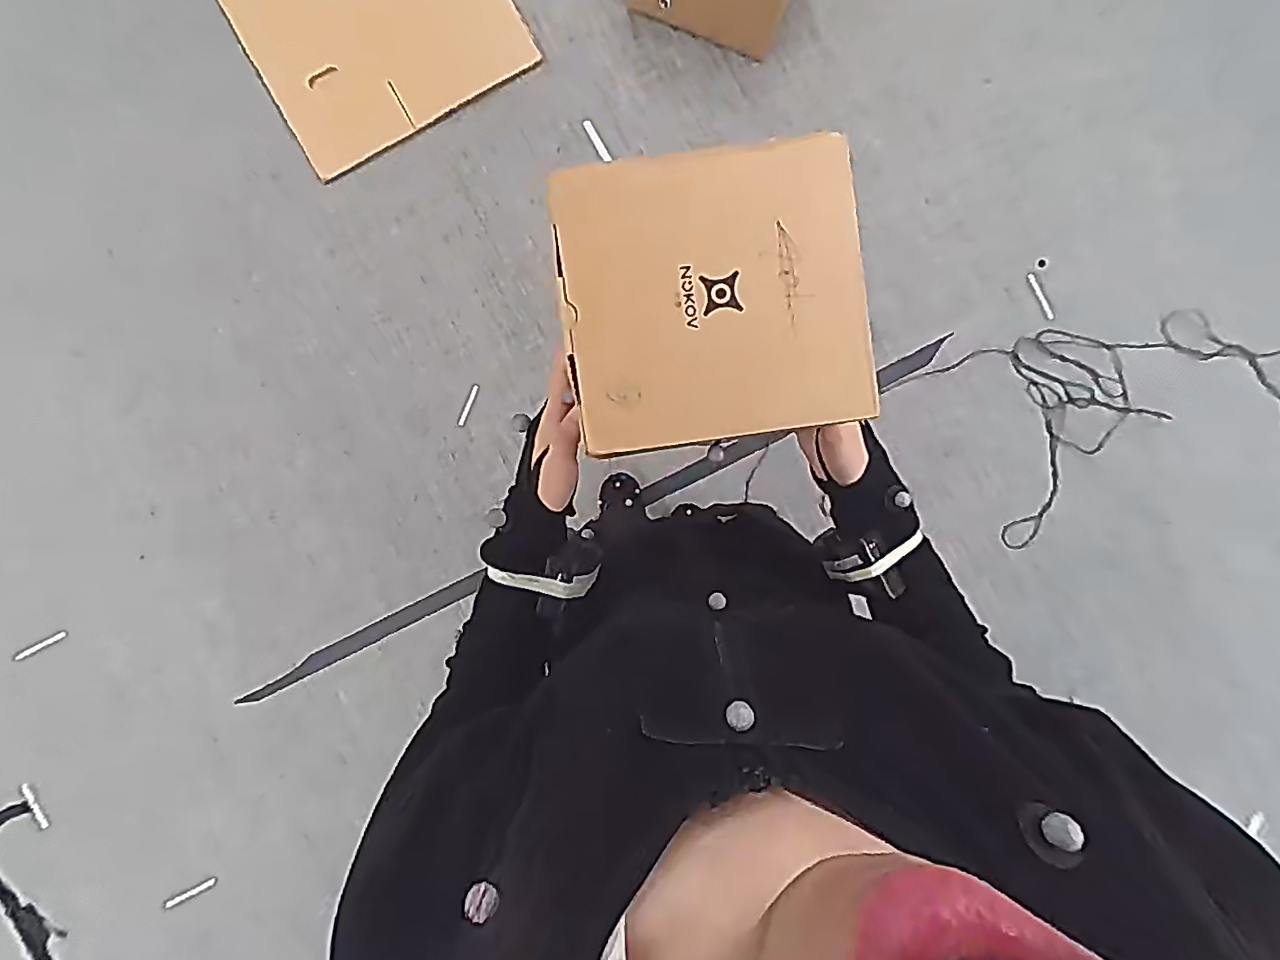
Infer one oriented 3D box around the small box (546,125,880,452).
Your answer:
[{"bbox_3d":[0.042,-0.112,0.388,0.179,0.176,0.168,-8,93,-1],"label":"small box"}]
